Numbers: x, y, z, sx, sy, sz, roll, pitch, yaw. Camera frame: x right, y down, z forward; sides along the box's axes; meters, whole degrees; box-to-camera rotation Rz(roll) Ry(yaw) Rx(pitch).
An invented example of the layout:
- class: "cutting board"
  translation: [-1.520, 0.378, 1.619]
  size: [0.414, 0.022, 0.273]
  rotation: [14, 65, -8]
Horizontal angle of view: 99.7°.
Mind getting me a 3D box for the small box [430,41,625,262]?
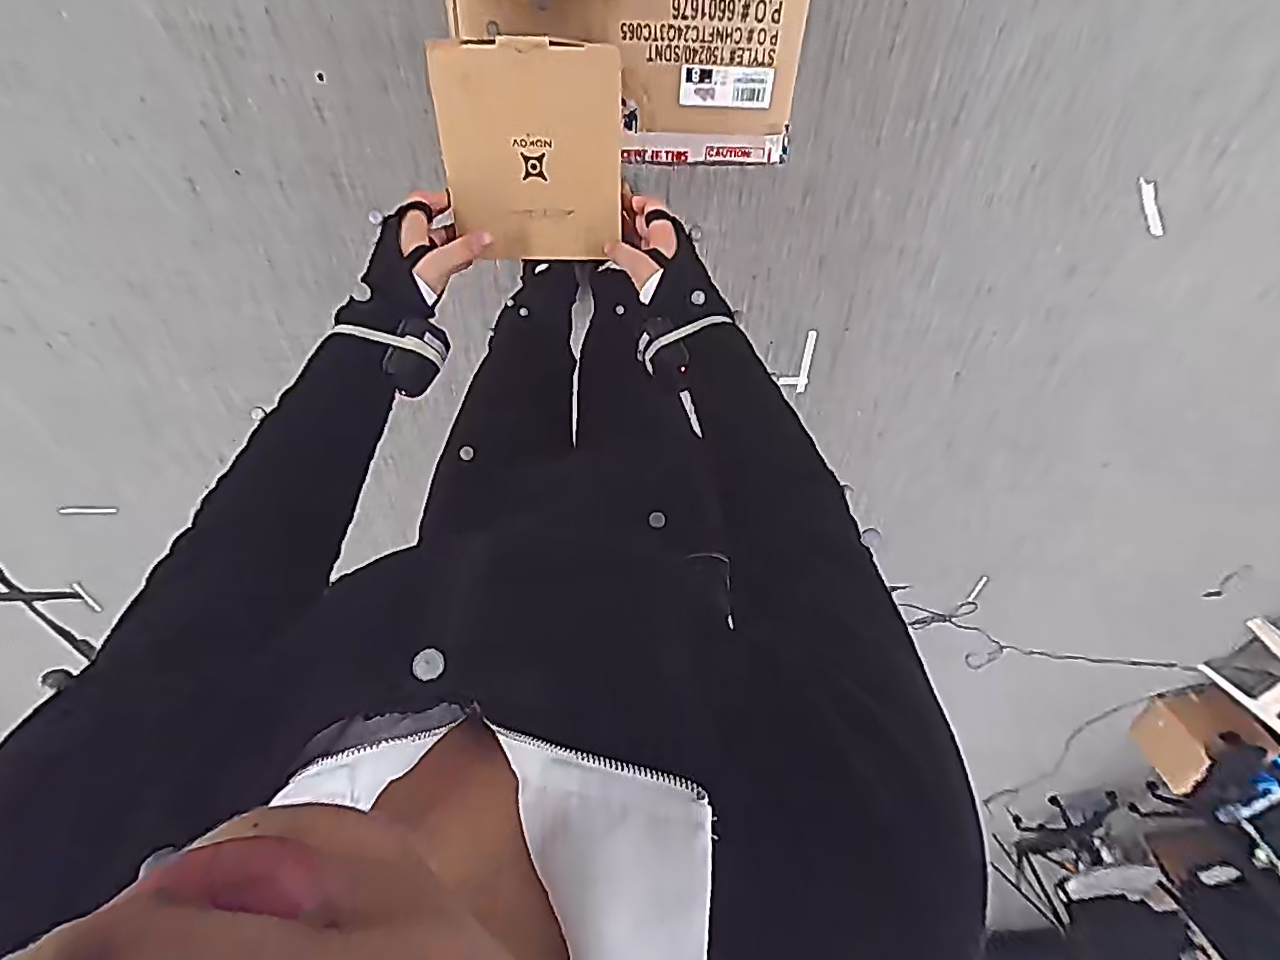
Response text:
- class: "small box"
  translation: [-0.100, -0.341, 0.565]
  size: [0.168, 0.176, 0.179]
  rotation: [-1, 128, -2]
